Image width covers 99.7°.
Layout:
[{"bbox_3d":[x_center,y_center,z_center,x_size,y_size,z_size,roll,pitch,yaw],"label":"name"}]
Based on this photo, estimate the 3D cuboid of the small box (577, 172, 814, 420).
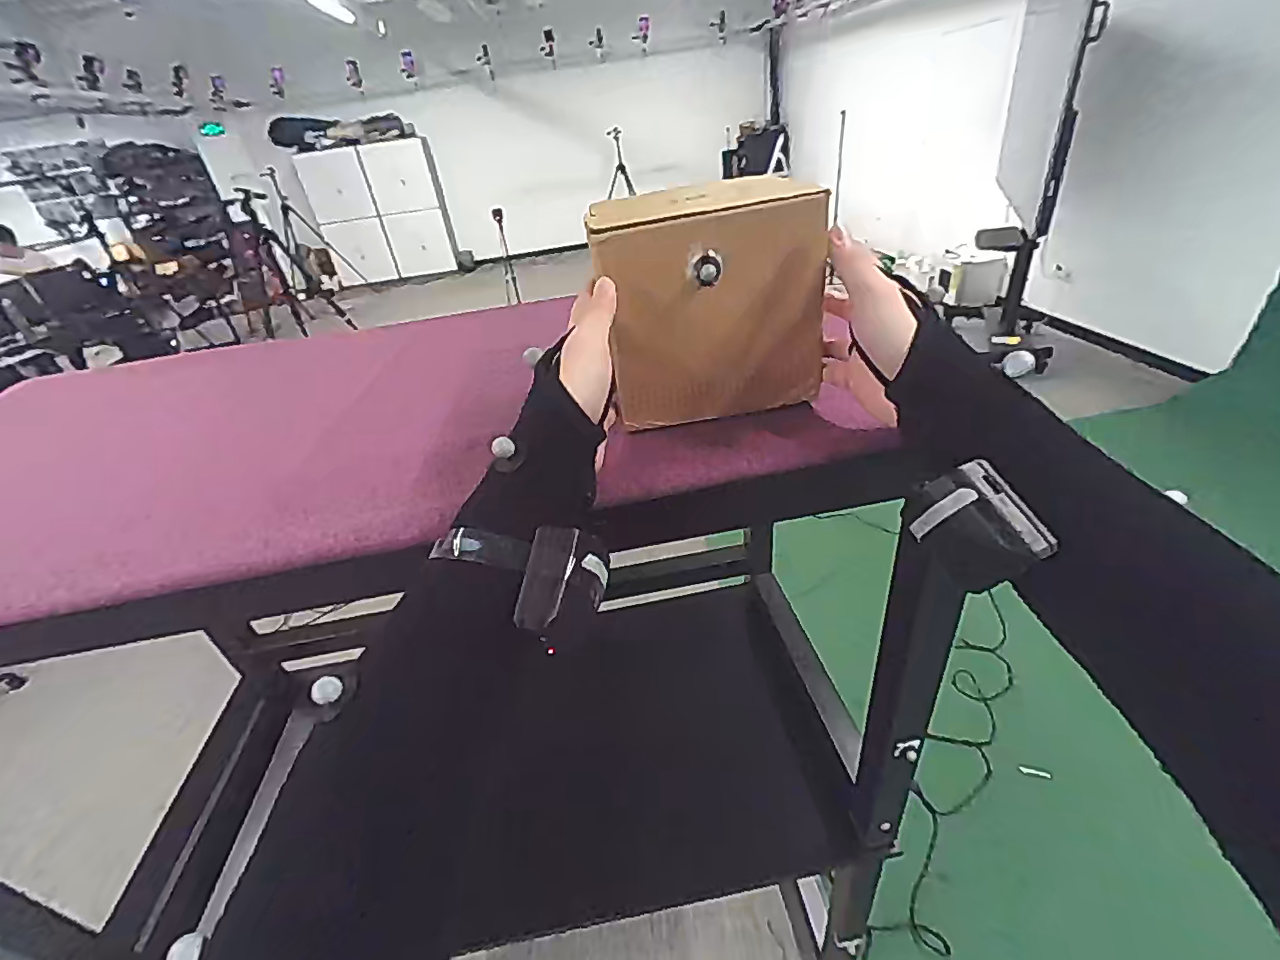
[{"bbox_3d":[0.048,-0.168,0.494,0.179,0.176,0.168,-9,34,2],"label":"small box"}]
